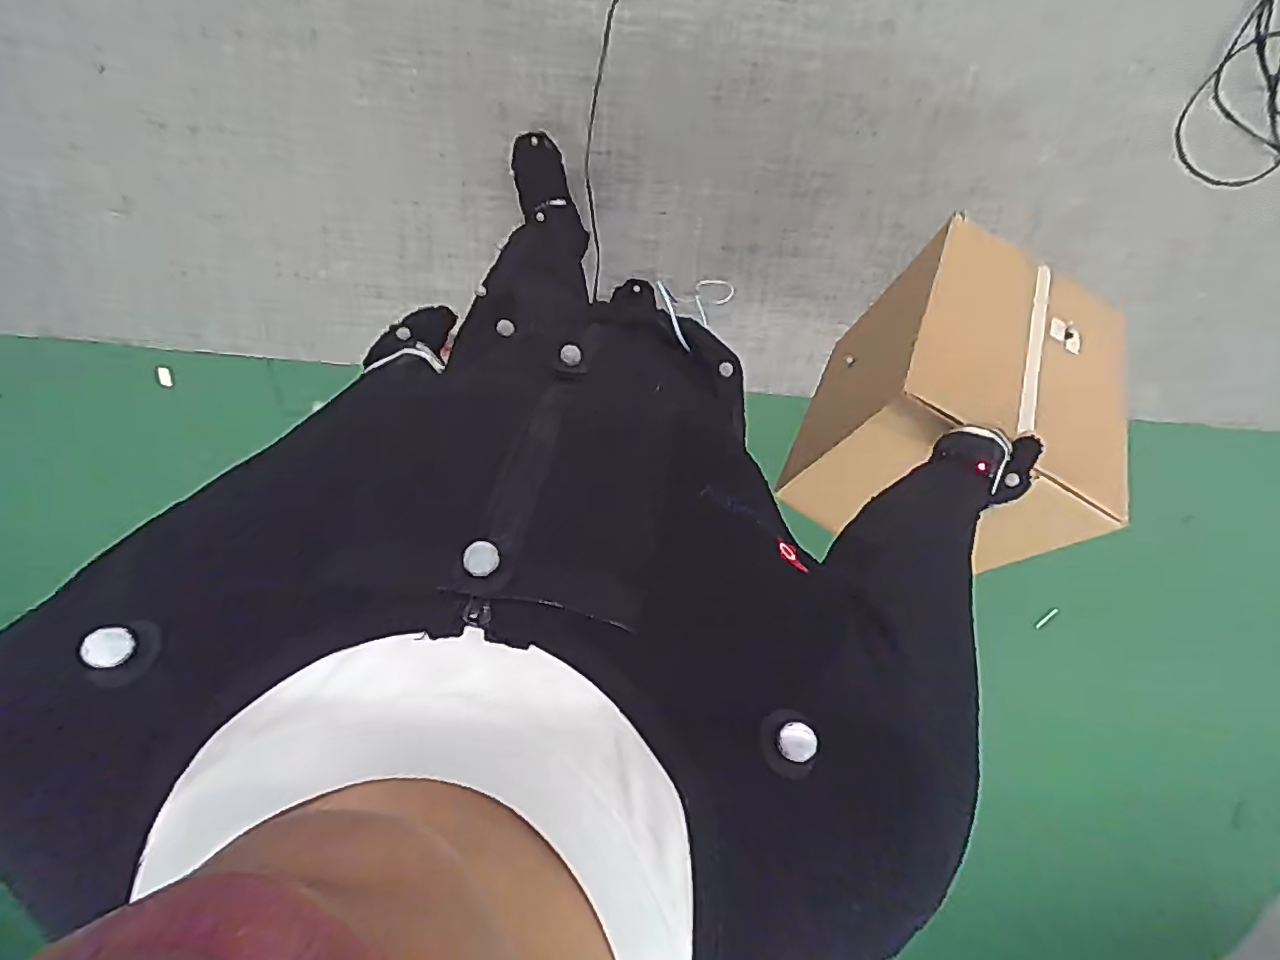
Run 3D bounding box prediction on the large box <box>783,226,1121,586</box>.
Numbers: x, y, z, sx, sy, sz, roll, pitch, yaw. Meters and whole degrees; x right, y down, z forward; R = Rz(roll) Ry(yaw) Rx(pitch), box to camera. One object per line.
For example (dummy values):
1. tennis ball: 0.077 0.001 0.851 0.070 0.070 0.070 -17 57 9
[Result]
1. large box: 0.481 -0.104 0.866 0.320 0.408 0.320 31 150 -2
